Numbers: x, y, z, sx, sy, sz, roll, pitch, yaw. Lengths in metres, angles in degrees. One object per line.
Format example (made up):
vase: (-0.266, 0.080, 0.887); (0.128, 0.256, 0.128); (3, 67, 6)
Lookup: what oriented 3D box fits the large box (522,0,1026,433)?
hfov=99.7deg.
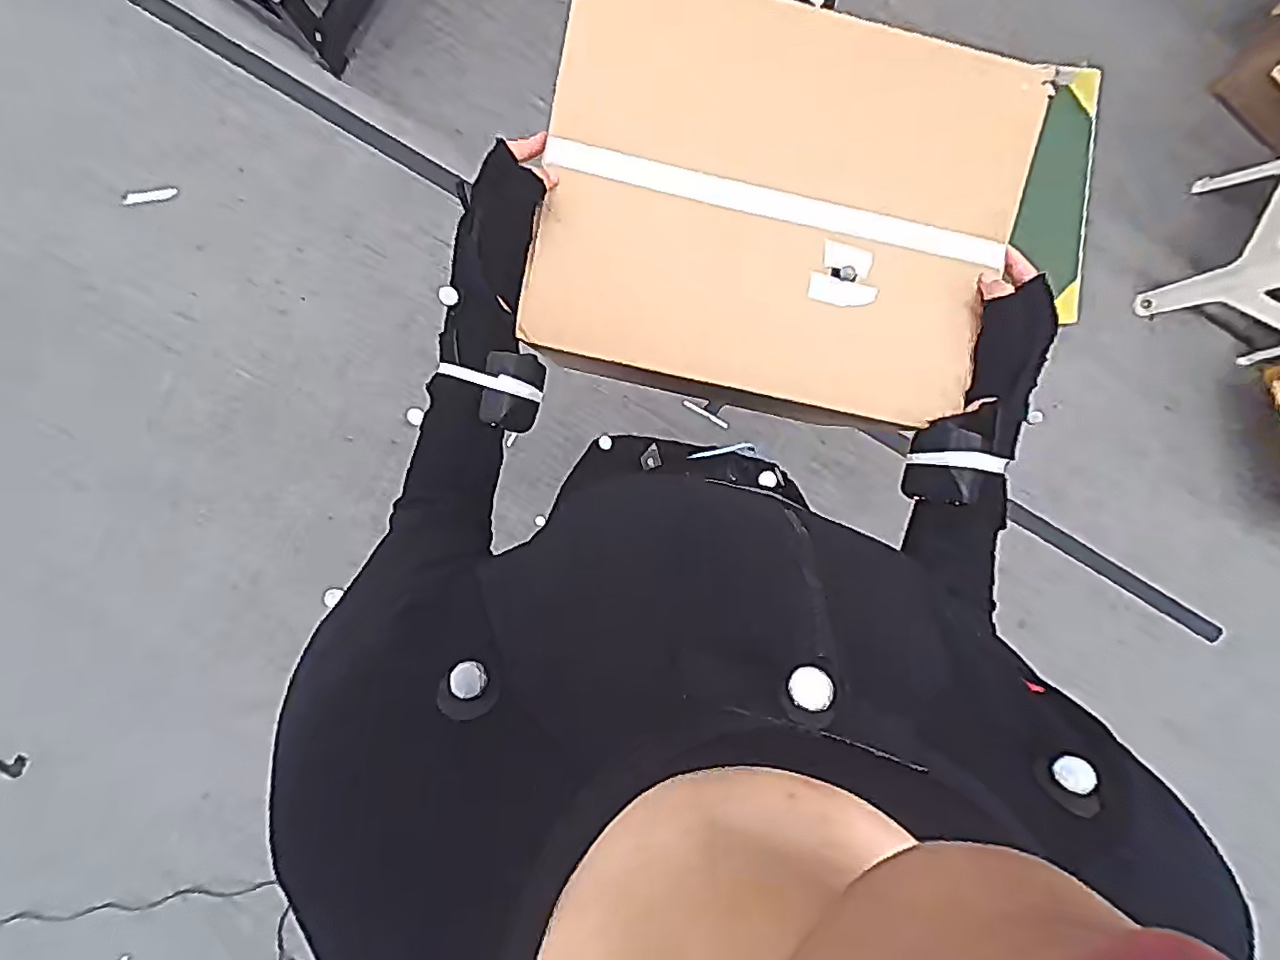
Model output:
large box: (0.107, -0.248, 0.622); (0.408, 0.320, 0.320); (12, 98, -5)
